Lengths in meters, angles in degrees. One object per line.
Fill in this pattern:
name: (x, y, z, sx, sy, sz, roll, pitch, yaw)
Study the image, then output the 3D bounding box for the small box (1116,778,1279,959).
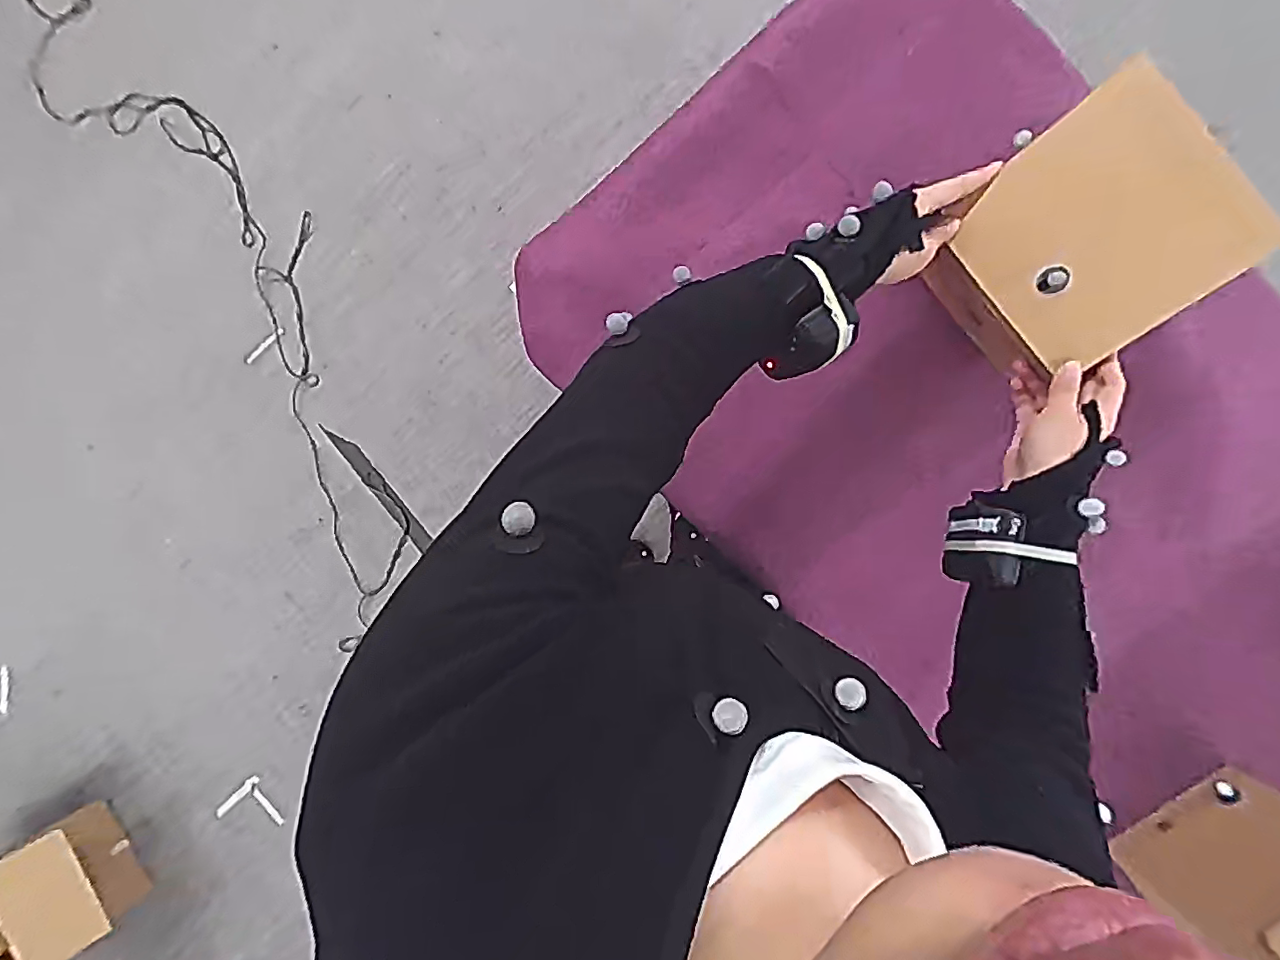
small box: (0.638, 0.431, 0.527, 0.168, 0.176, 0.179, -38, 89, 5)

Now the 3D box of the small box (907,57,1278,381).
small box: (0.380, -0.215, 0.488, 0.176, 0.168, 0.179, -38, 90, 23)
